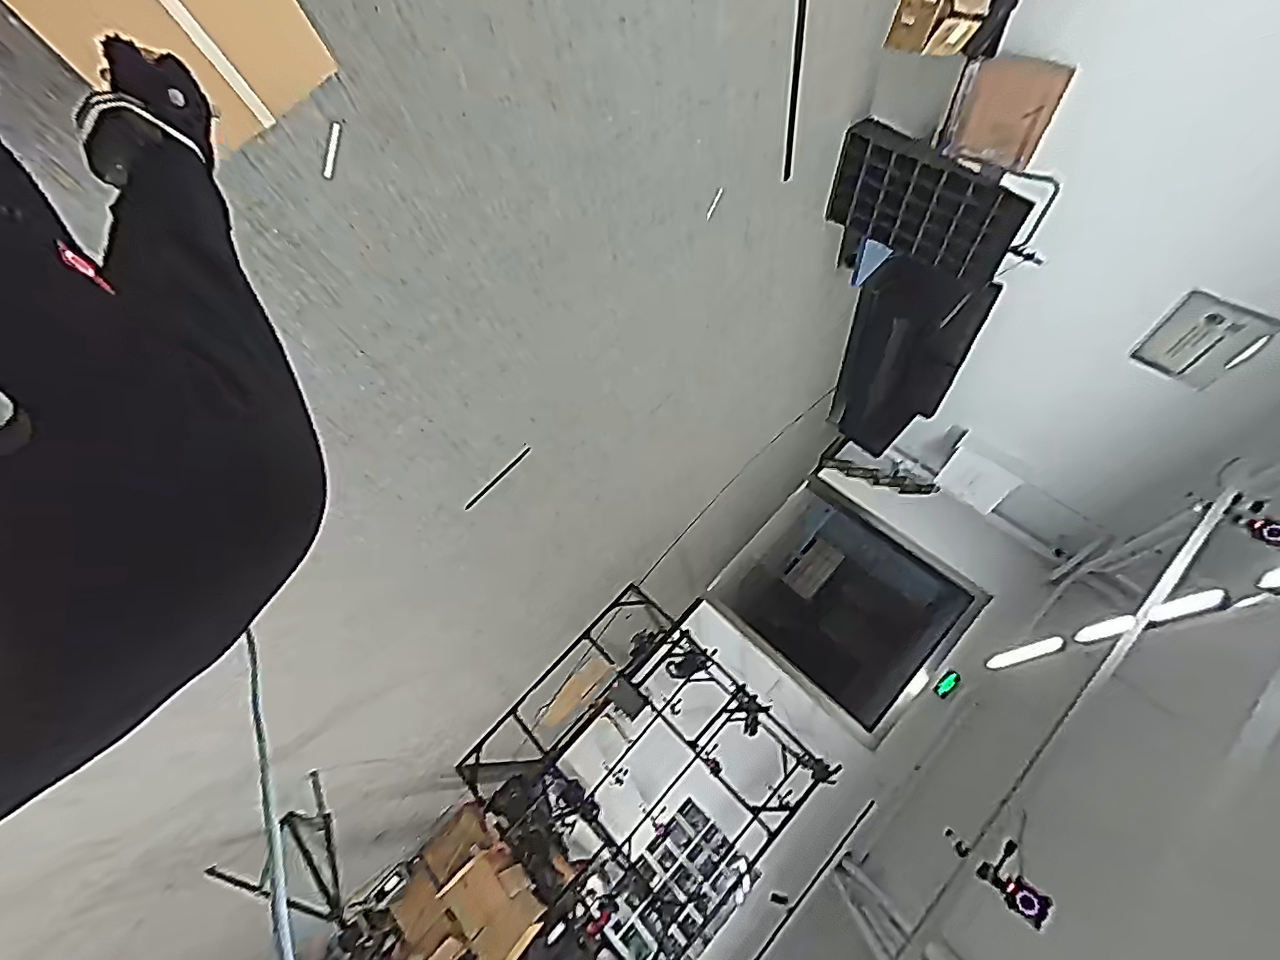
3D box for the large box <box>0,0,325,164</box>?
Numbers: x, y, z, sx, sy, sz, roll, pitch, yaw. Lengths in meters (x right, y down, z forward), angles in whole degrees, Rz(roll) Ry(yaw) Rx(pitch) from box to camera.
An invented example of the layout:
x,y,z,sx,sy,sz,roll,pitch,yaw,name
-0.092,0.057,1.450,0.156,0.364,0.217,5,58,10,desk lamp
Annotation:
x,y,z,sx,sy,sz,roll,pitch,yaw,name
-0.779,-0.777,0.781,0.320,0.320,0.408,-47,156,-9,large box
